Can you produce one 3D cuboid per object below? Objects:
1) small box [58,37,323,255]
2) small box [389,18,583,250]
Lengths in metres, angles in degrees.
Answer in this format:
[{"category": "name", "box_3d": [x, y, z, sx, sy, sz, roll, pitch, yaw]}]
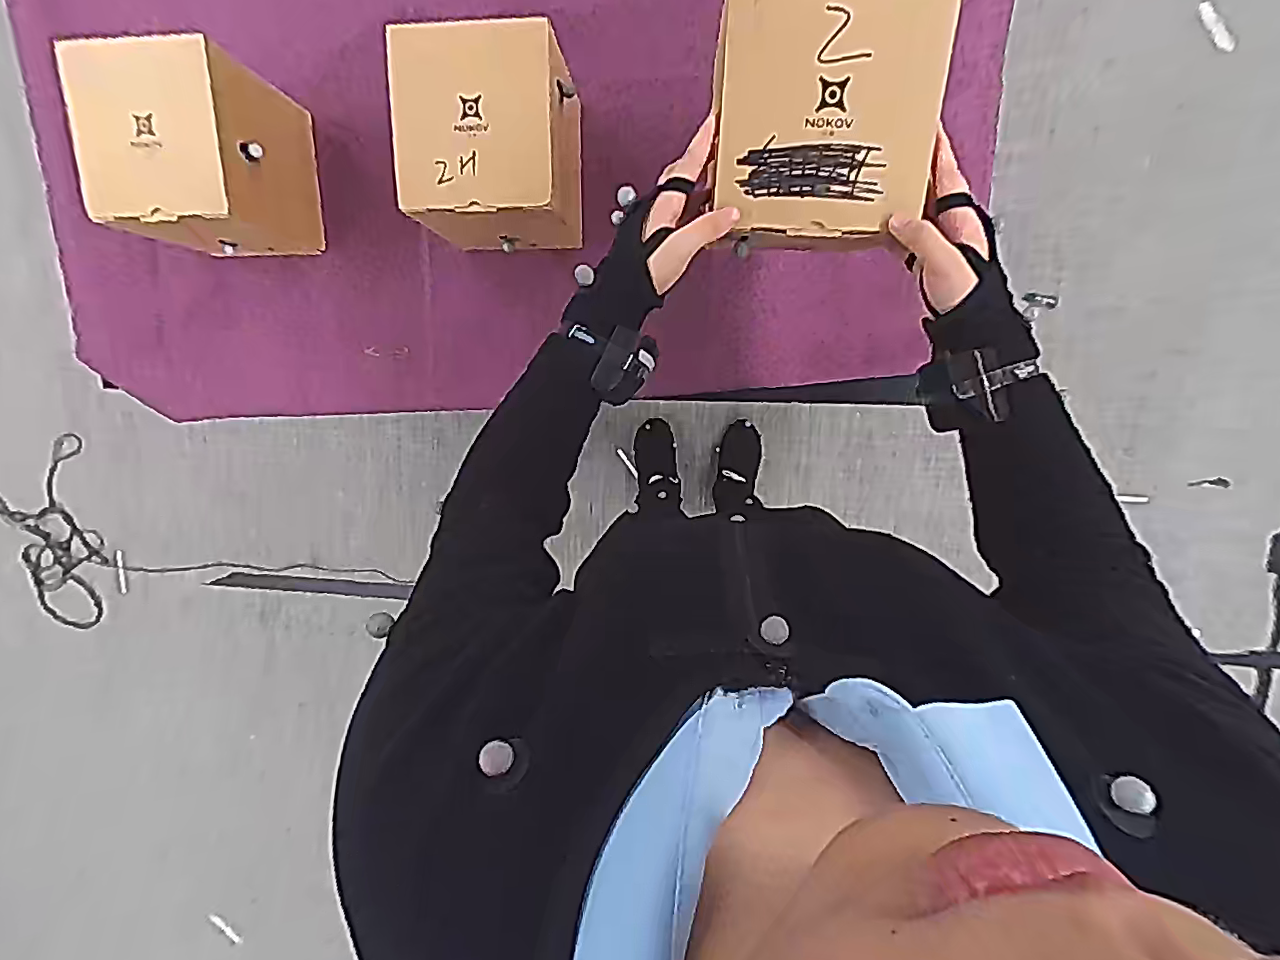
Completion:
[{"category": "small box", "box_3d": [-0.515, -0.382, 0.648, 0.168, 0.176, 0.179, 0, 101, 4]}, {"category": "small box", "box_3d": [-0.162, -0.377, 0.620, 0.168, 0.176, 0.179, 1, 101, 5]}]
